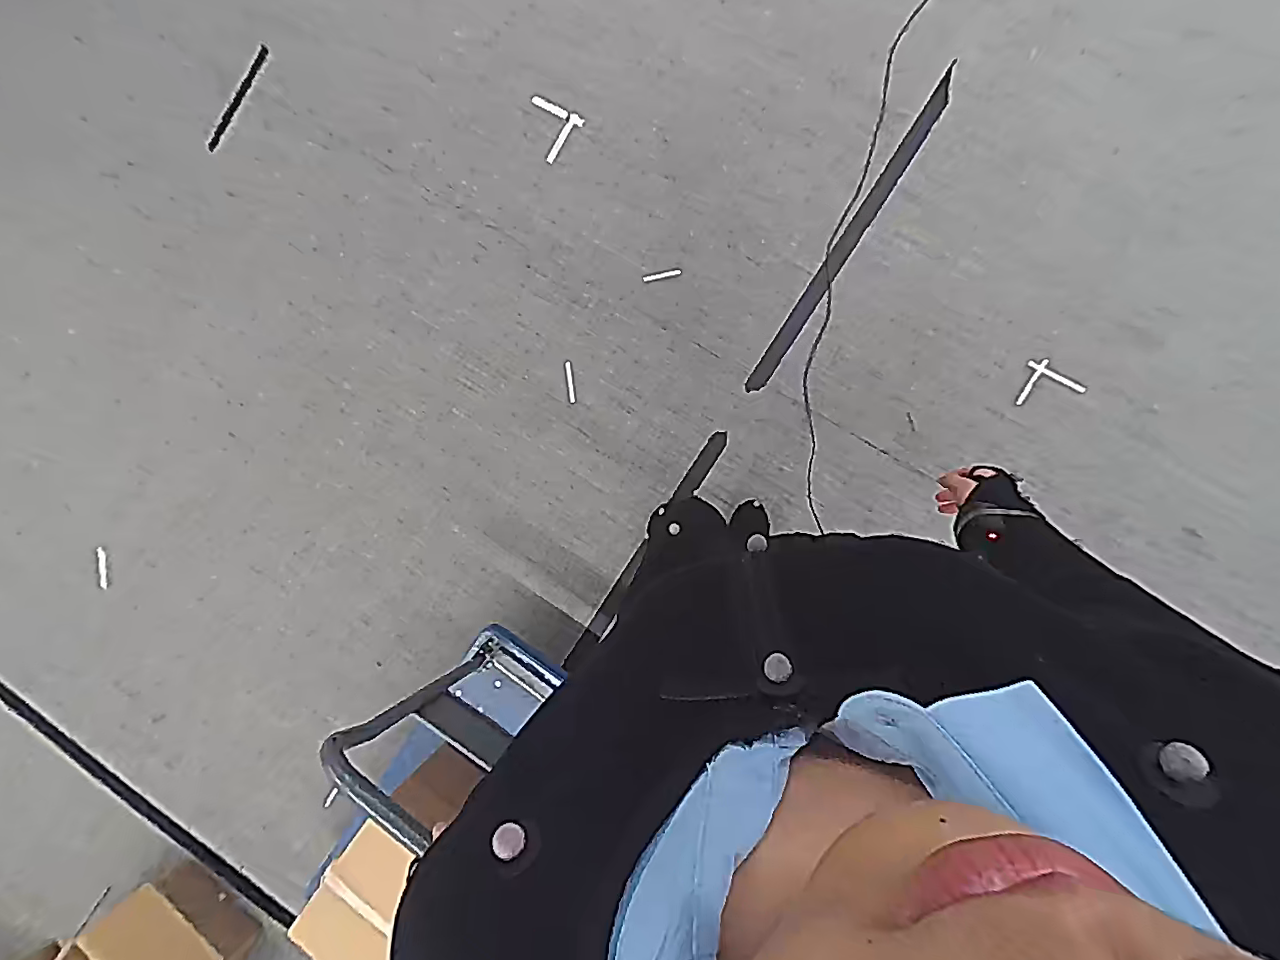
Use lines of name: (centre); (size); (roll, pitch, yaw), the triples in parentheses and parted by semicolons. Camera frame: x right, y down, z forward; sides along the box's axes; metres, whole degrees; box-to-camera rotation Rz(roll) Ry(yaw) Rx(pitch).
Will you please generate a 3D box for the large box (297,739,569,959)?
large box: (-0.430, 0.878, 1.208); (0.408, 0.320, 0.320); (36, 92, 6)
